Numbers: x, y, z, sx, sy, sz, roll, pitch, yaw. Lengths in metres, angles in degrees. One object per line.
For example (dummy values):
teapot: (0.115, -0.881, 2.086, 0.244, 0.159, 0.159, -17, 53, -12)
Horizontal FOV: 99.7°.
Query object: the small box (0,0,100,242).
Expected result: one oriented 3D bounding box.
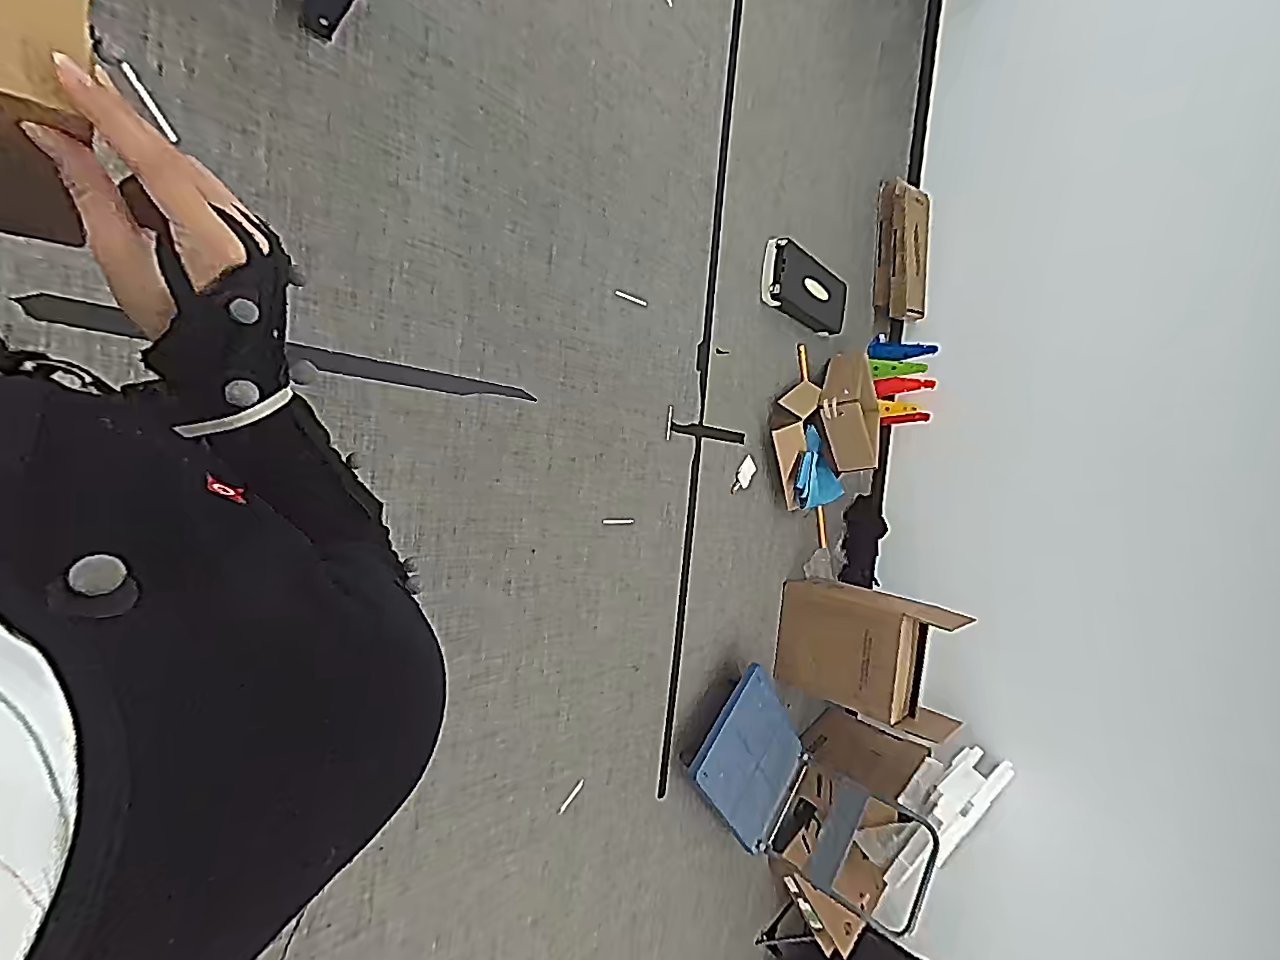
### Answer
small box: (-0.362, -0.239, 0.240, 0.168, 0.176, 0.179, -2, 89, -47)
